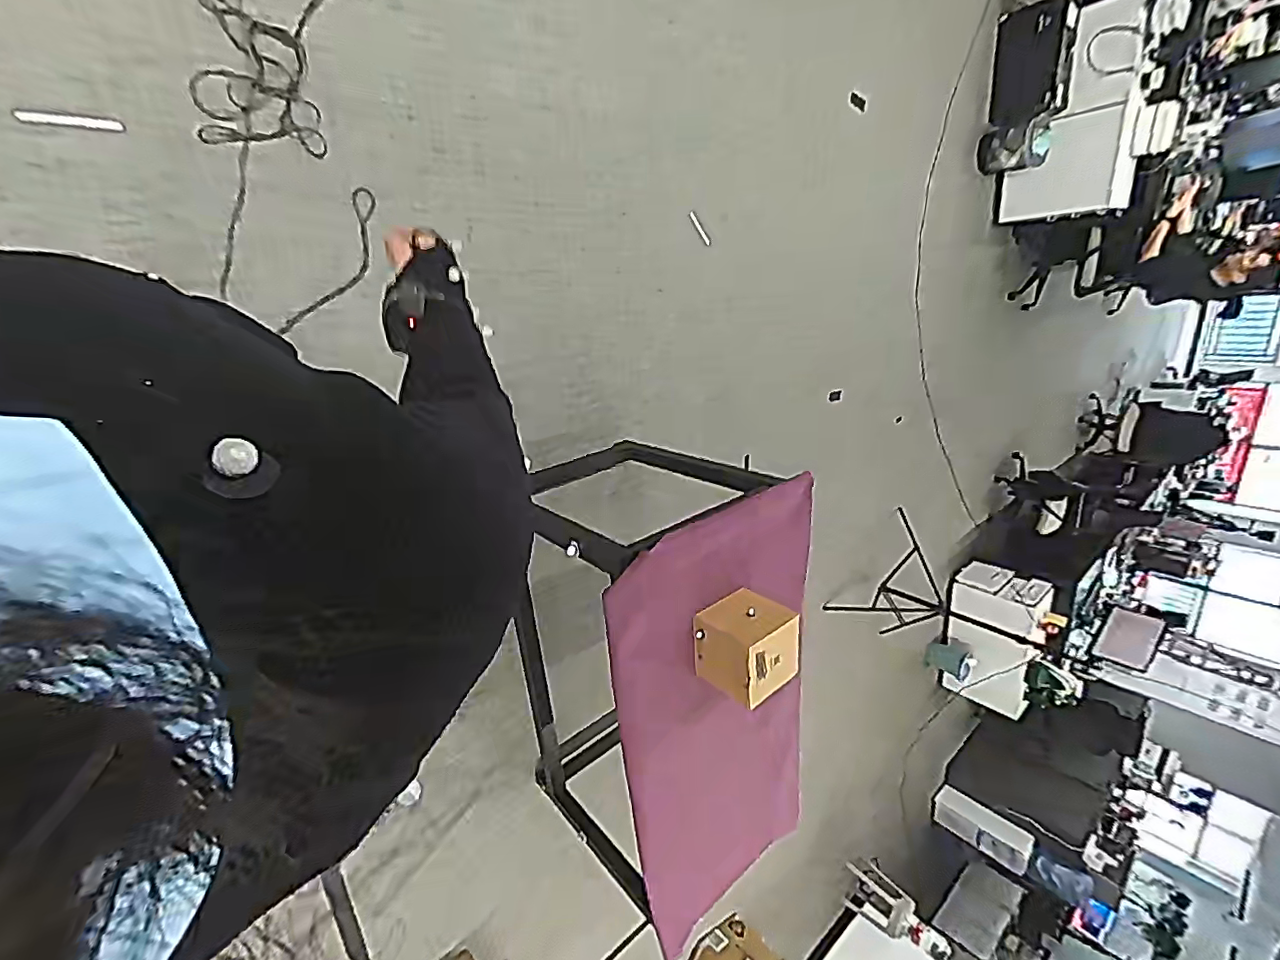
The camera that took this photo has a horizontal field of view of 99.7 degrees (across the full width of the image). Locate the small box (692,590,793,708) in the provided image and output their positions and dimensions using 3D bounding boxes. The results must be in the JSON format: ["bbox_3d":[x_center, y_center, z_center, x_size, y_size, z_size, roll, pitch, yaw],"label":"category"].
[{"bbox_3d":[0.233,0.380,1.251,0.179,0.176,0.168,-19,114,-36],"label":"small box"}]
